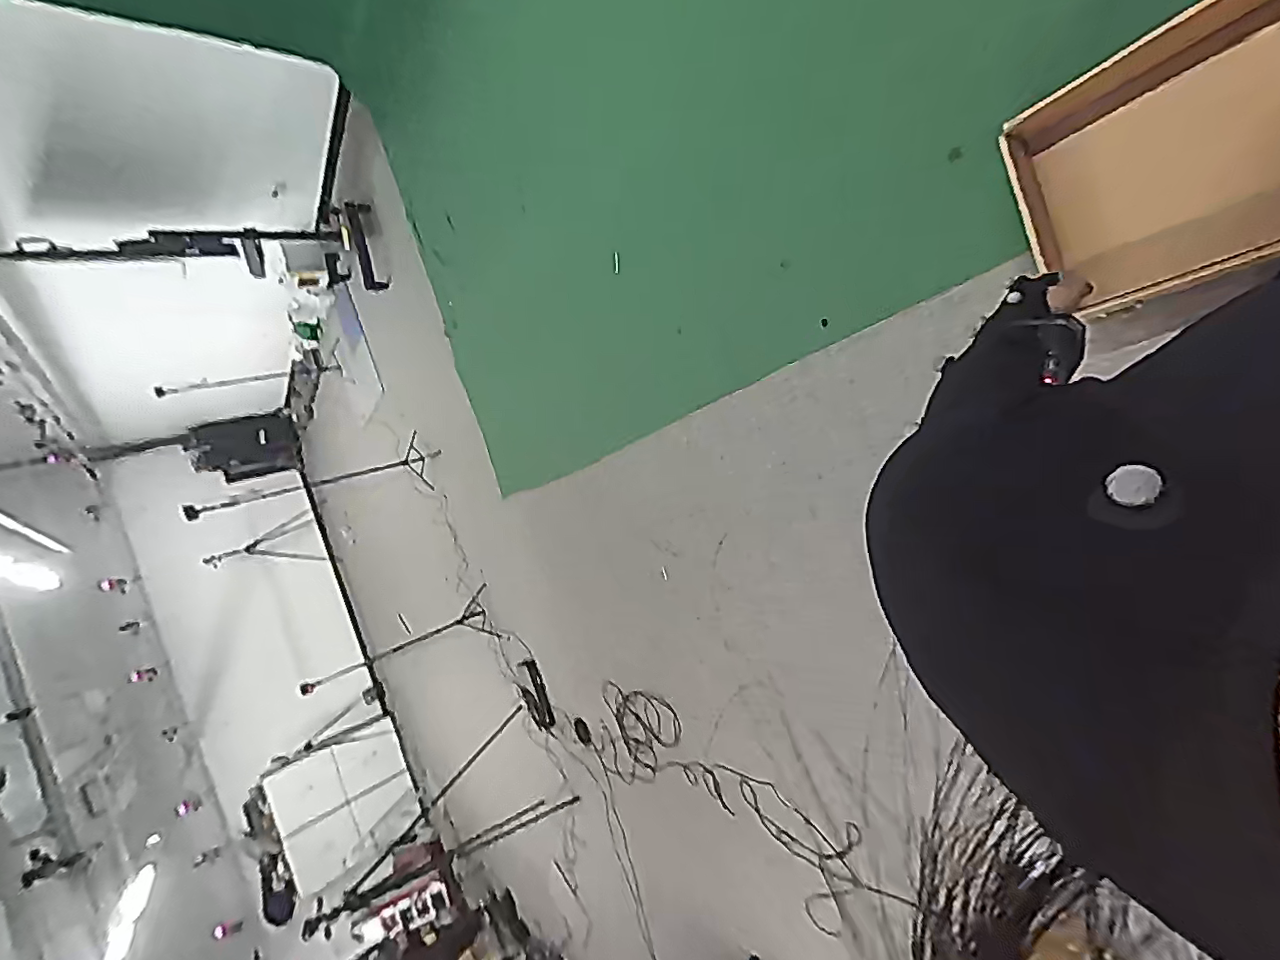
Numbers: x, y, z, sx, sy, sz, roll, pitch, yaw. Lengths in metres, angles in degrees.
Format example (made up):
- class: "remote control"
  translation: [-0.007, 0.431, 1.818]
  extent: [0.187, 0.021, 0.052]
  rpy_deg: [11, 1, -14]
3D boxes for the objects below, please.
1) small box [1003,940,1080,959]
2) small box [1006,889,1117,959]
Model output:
- class: "small box"
  translation: [1.016, 1.297, 1.334]
  extent: [0.179, 0.176, 0.168]
  rpy_deg: [-28, 83, 50]
- class: "small box"
  translation: [1.128, 1.241, 1.440]
  extent: [0.179, 0.176, 0.168]
  rpy_deg: [-34, 78, 51]
